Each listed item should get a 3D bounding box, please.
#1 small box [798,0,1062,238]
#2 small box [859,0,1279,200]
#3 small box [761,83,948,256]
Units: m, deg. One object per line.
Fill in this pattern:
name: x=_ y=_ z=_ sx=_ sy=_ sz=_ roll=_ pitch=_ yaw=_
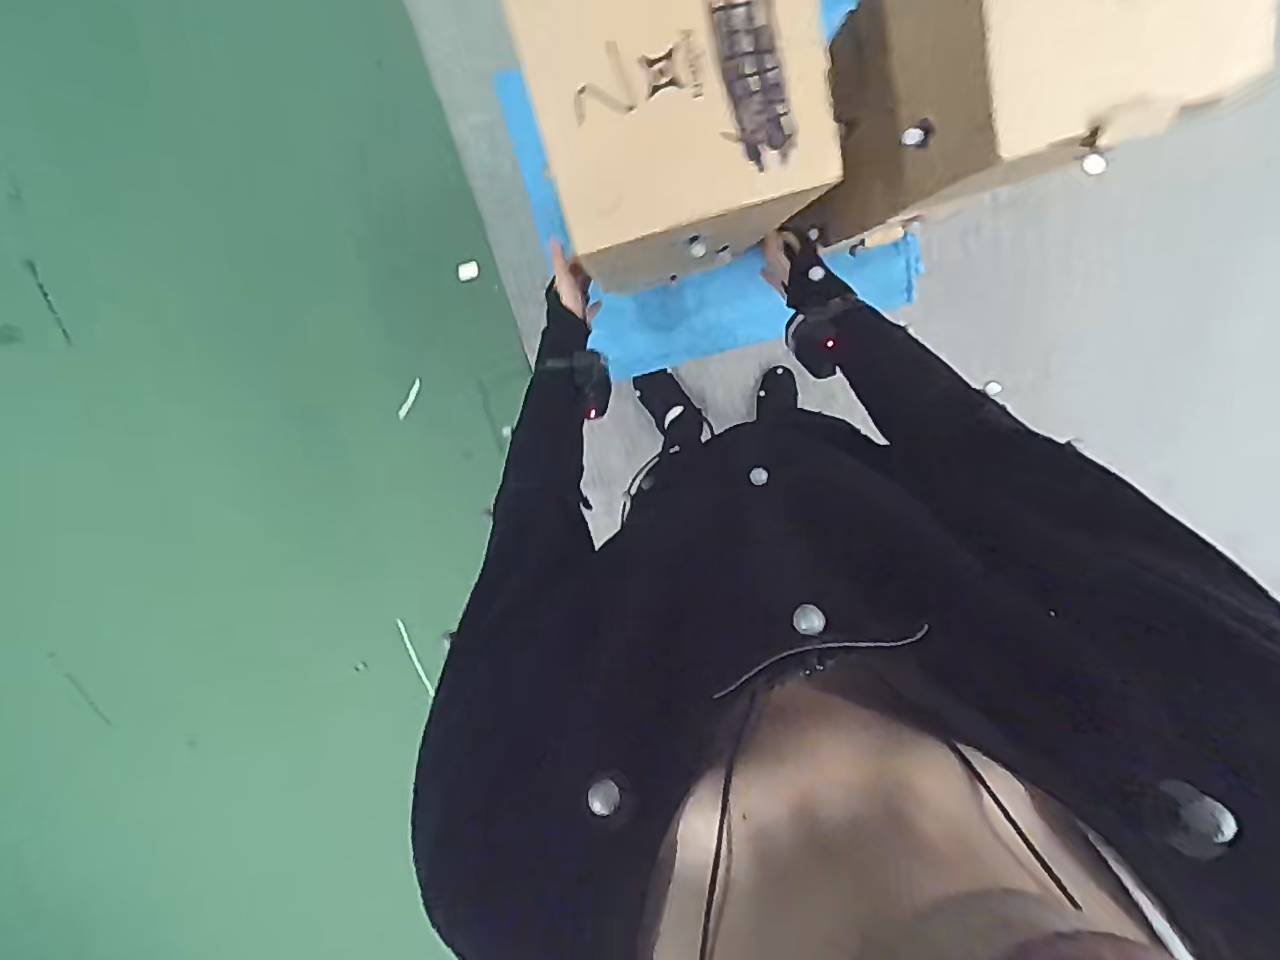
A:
small box: x=0.274 y=-0.357 z=0.537 sx=0.168 sy=0.176 sz=0.179 roll=-17 pitch=104 yaw=4
small box: x=0.275 y=-0.318 z=0.379 sx=0.168 sy=0.176 sz=0.179 roll=-15 pitch=103 yaw=4
small box: x=0.265 y=-0.399 z=0.694 sx=0.168 sy=0.176 sz=0.179 roll=-14 pitch=106 yaw=4
